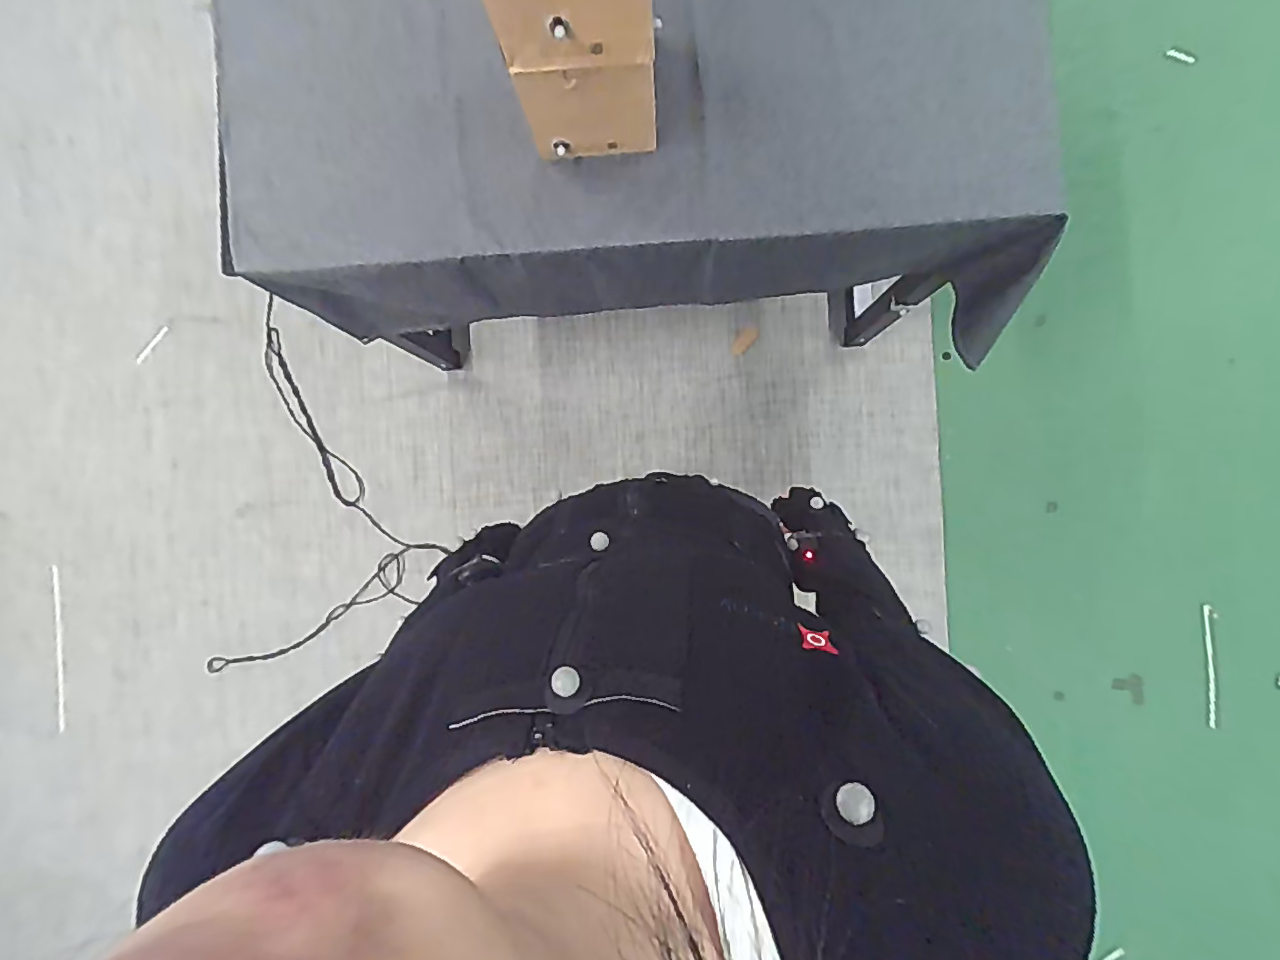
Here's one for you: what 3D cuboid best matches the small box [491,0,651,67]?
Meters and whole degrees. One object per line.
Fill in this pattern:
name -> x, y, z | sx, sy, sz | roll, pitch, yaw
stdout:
small box -> -0.075, -0.562, 0.537 | 0.168, 0.176, 0.179 | -3, 89, 3

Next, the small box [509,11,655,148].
small box -> -0.068, -0.559, 0.699 | 0.168, 0.176, 0.179 | -3, 88, 3
